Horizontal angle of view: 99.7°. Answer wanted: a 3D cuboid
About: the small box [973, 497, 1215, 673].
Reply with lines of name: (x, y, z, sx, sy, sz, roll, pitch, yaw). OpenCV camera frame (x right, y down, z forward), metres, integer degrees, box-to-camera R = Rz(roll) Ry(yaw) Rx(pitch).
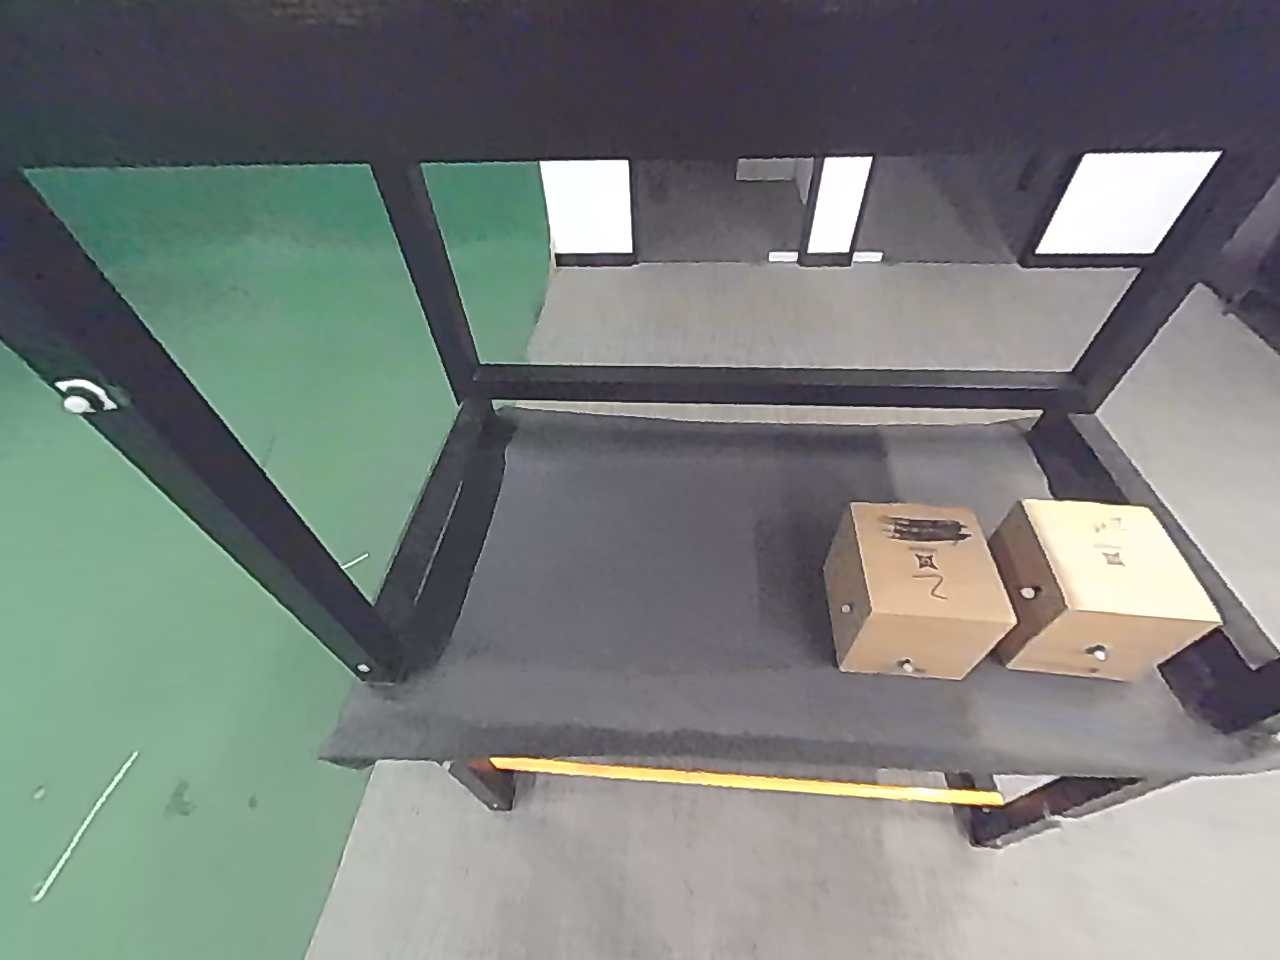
small box: (0.595, 0.146, 0.743, 0.168, 0.176, 0.179, 4, 47, 7)
